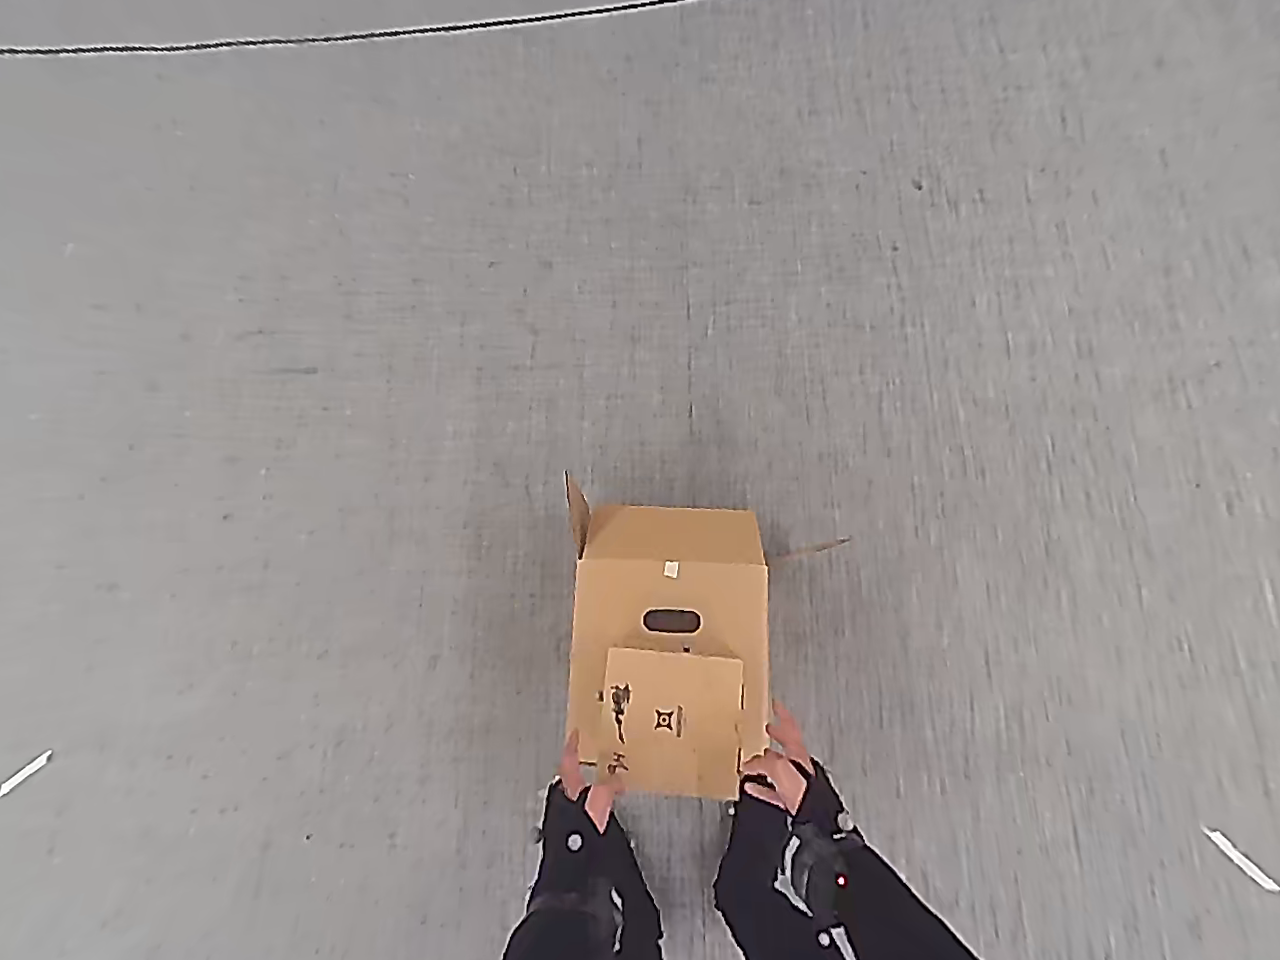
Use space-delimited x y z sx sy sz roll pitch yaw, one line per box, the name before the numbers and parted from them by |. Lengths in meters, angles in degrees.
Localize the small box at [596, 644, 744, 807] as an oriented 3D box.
small box | 0.041 0.327 0.753 0.179 0.176 0.168 4 79 3
